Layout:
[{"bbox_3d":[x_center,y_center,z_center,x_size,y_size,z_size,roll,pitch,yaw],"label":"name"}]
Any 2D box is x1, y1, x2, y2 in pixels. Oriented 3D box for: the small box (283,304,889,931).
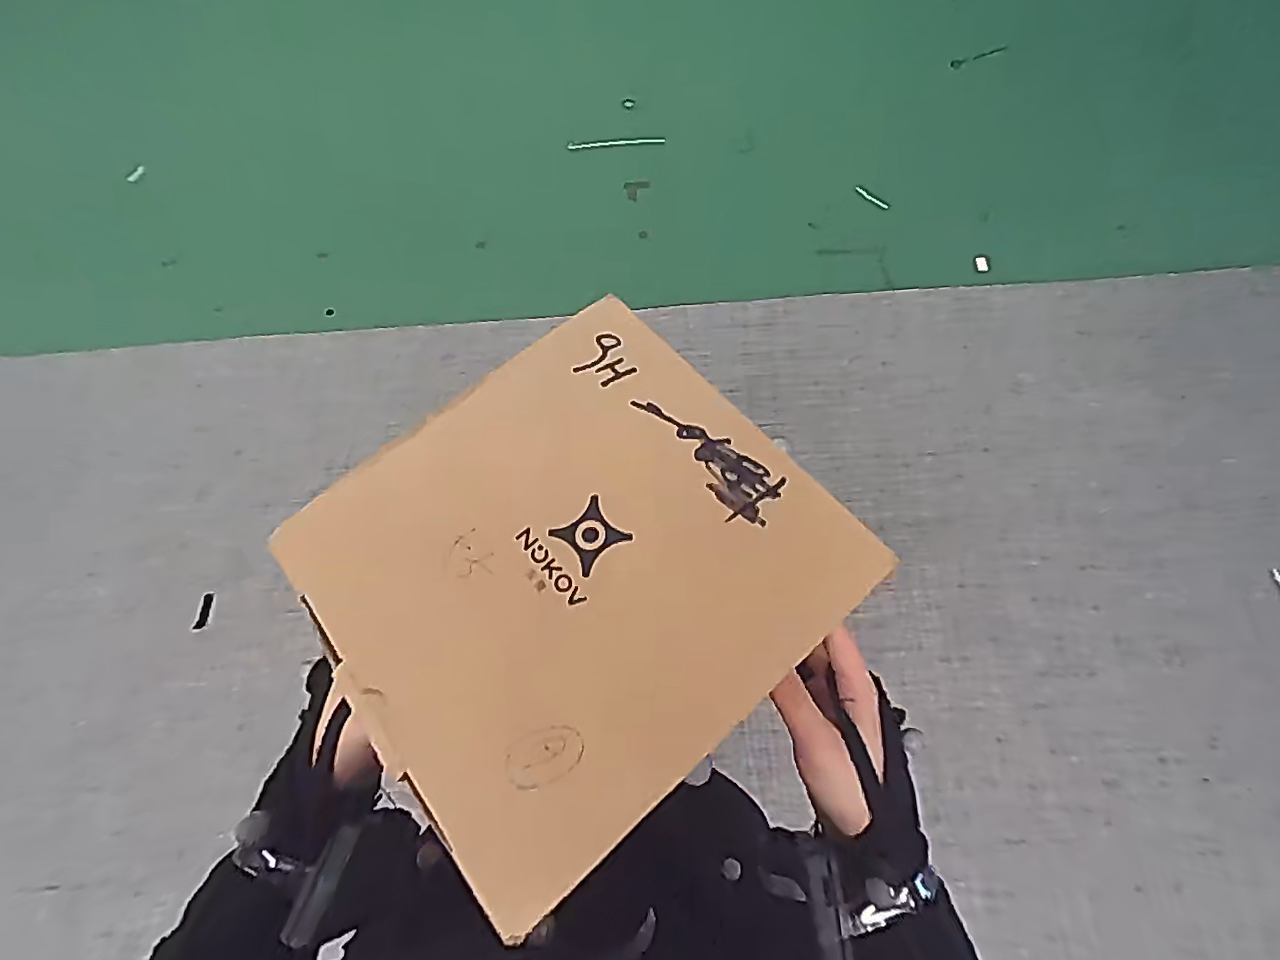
[{"bbox_3d":[-0.019,0.058,0.275,0.179,0.176,0.168,-39,70,-12],"label":"small box"}]
